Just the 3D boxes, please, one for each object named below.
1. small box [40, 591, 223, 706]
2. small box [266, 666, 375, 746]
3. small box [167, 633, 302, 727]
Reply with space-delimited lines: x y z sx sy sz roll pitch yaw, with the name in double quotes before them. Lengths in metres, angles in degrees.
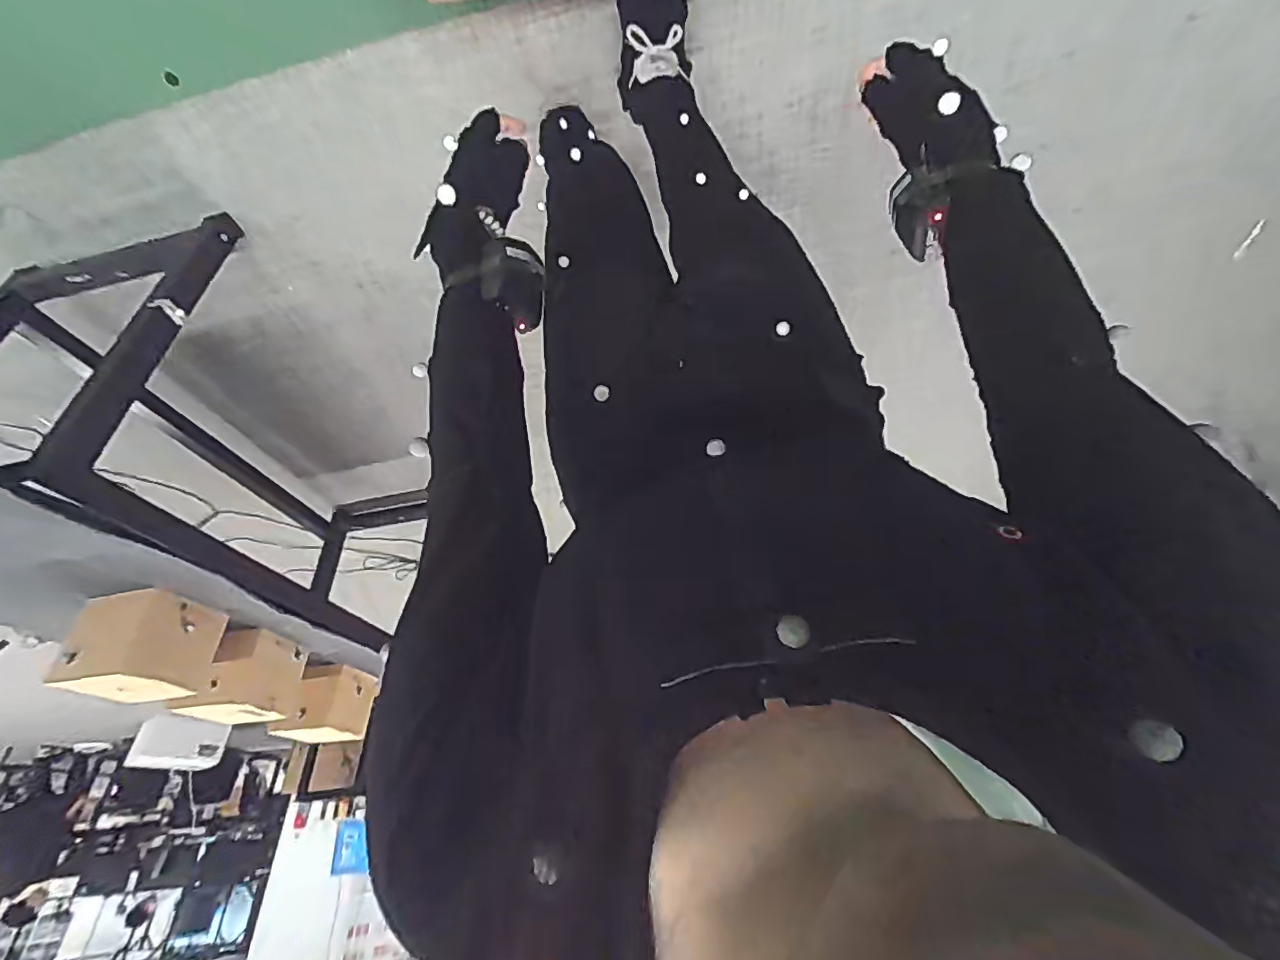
"small box" -0.985 0.334 1.068 0.179 0.176 0.168 -10 145 9
"small box" -0.873 0.626 1.498 0.179 0.176 0.168 -9 144 9
"small box" -0.930 0.467 1.264 0.179 0.176 0.168 -9 145 8
